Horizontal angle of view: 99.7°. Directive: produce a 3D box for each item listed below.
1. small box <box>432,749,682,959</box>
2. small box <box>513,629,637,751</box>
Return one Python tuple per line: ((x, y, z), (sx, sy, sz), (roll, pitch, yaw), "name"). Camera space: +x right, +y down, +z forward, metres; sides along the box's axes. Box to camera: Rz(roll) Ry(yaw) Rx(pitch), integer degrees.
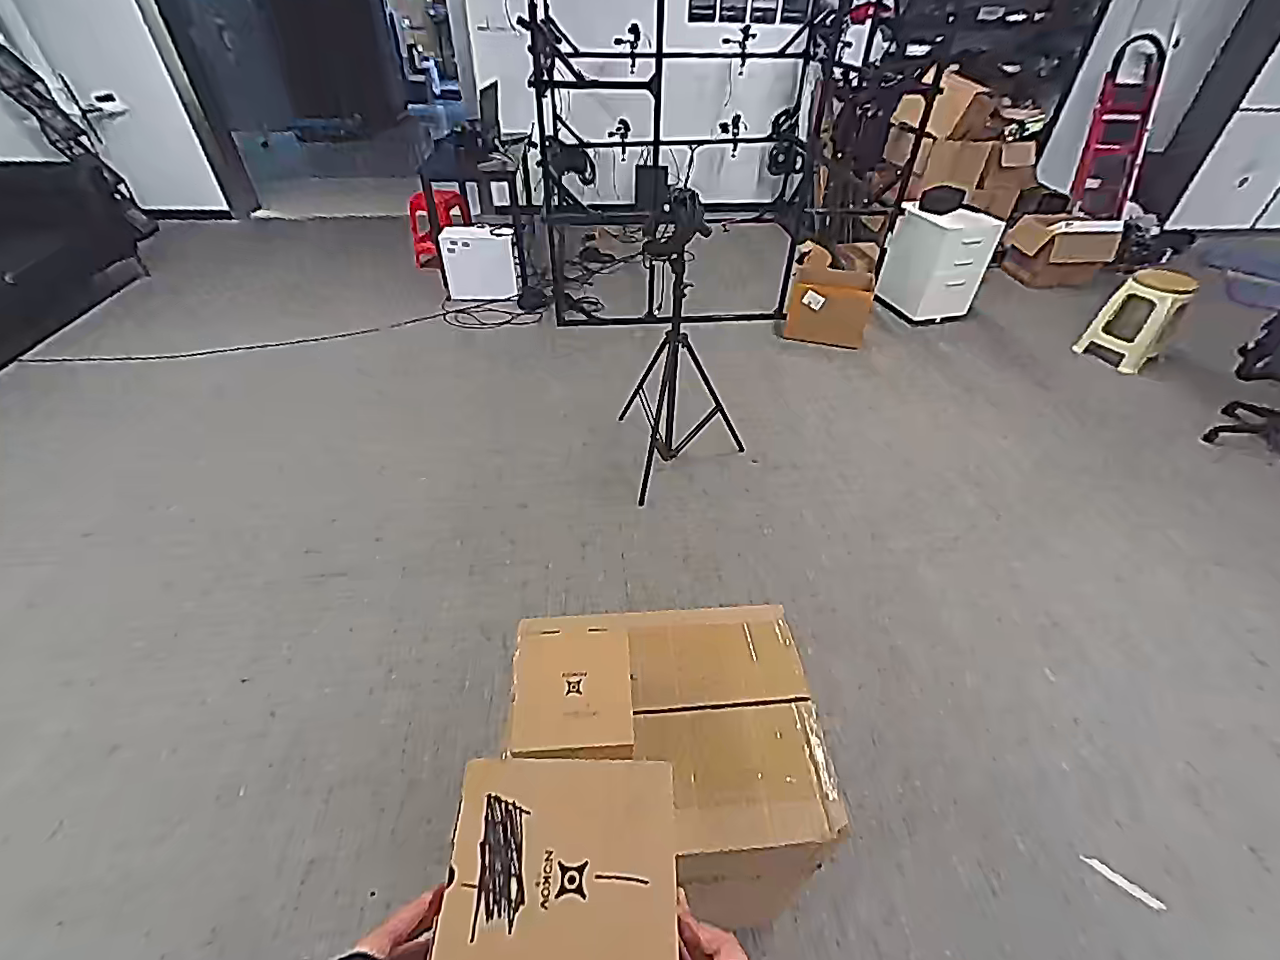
((-0.059, 0.349, 0.471), (0.179, 0.176, 0.168), (1, 47, -2), "small box")
((-0.094, 0.352, 0.829), (0.168, 0.176, 0.179), (-3, 45, -4), "small box")
